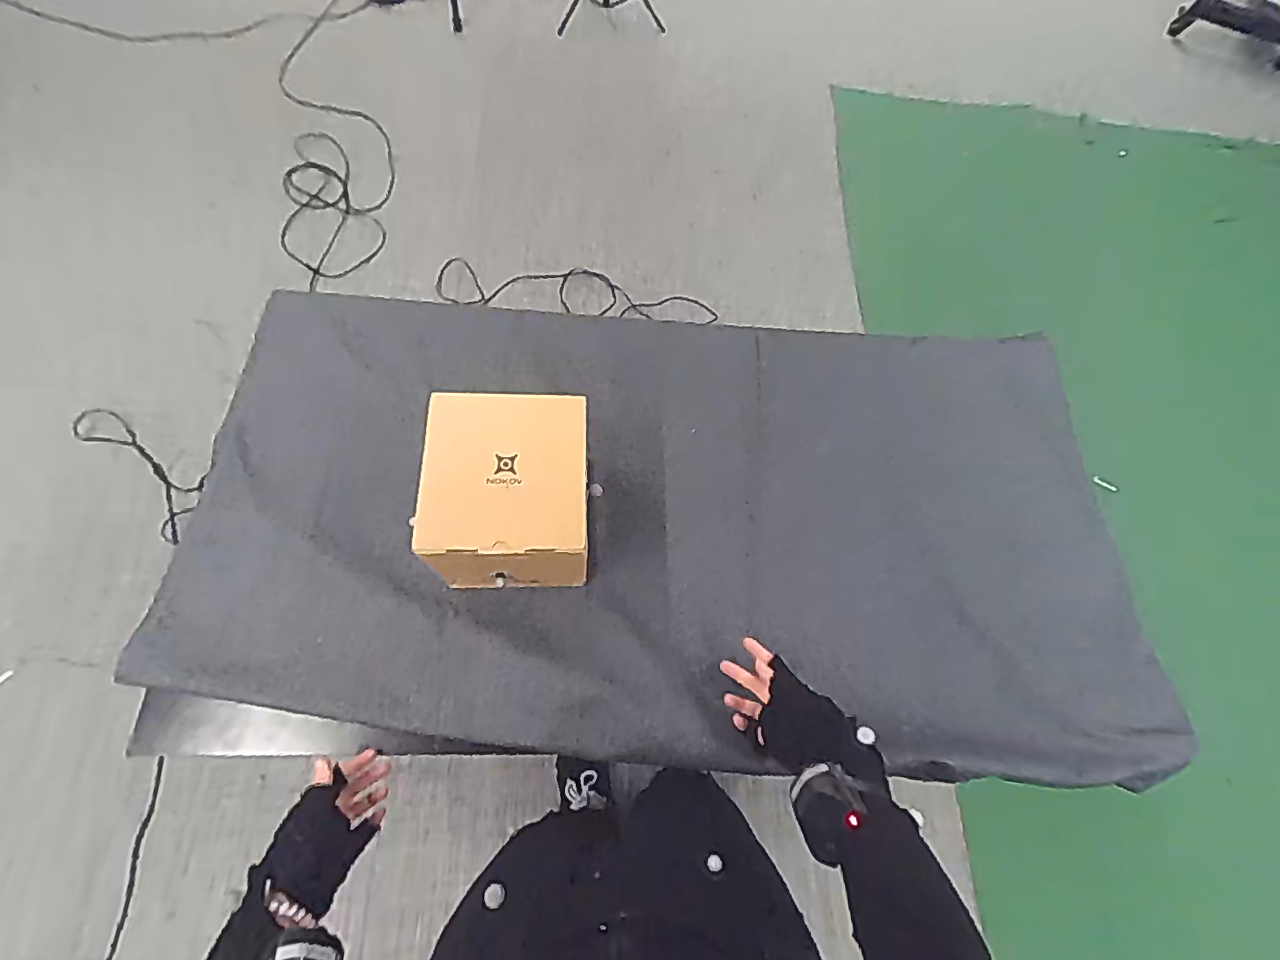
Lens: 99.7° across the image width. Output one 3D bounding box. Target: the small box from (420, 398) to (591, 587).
[{"bbox_3d":[-0.145,0.022,0.635,0.168,0.176,0.179,1,69,-7],"label":"small box"}]
